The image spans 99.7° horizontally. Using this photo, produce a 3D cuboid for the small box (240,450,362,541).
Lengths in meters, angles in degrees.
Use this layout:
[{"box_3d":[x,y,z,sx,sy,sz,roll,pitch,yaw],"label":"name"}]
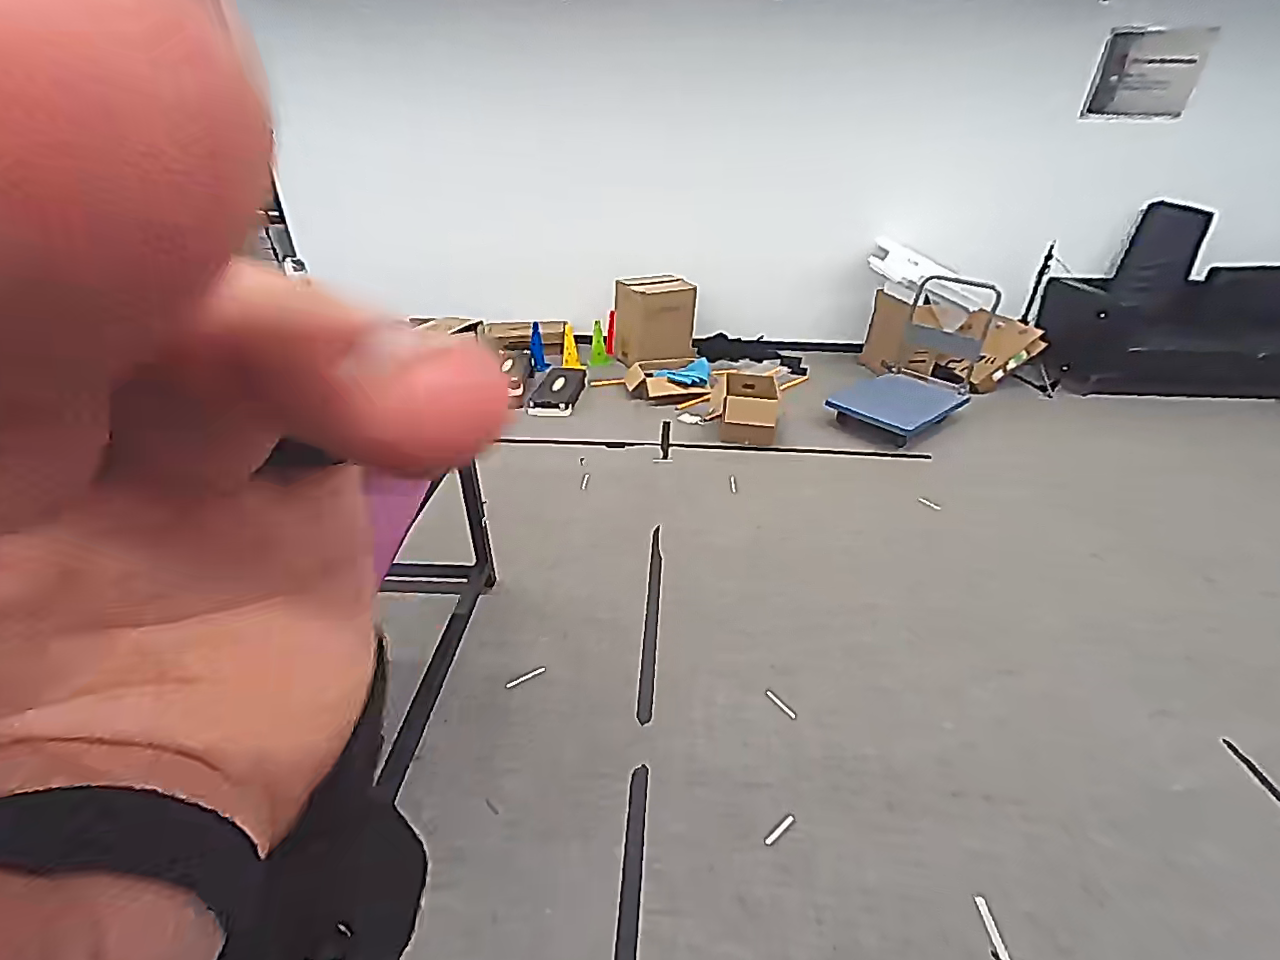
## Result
[{"box_3d":[-0.829,0.038,1.341,0.179,0.176,0.168,2,32,1],"label":"small box"}]
